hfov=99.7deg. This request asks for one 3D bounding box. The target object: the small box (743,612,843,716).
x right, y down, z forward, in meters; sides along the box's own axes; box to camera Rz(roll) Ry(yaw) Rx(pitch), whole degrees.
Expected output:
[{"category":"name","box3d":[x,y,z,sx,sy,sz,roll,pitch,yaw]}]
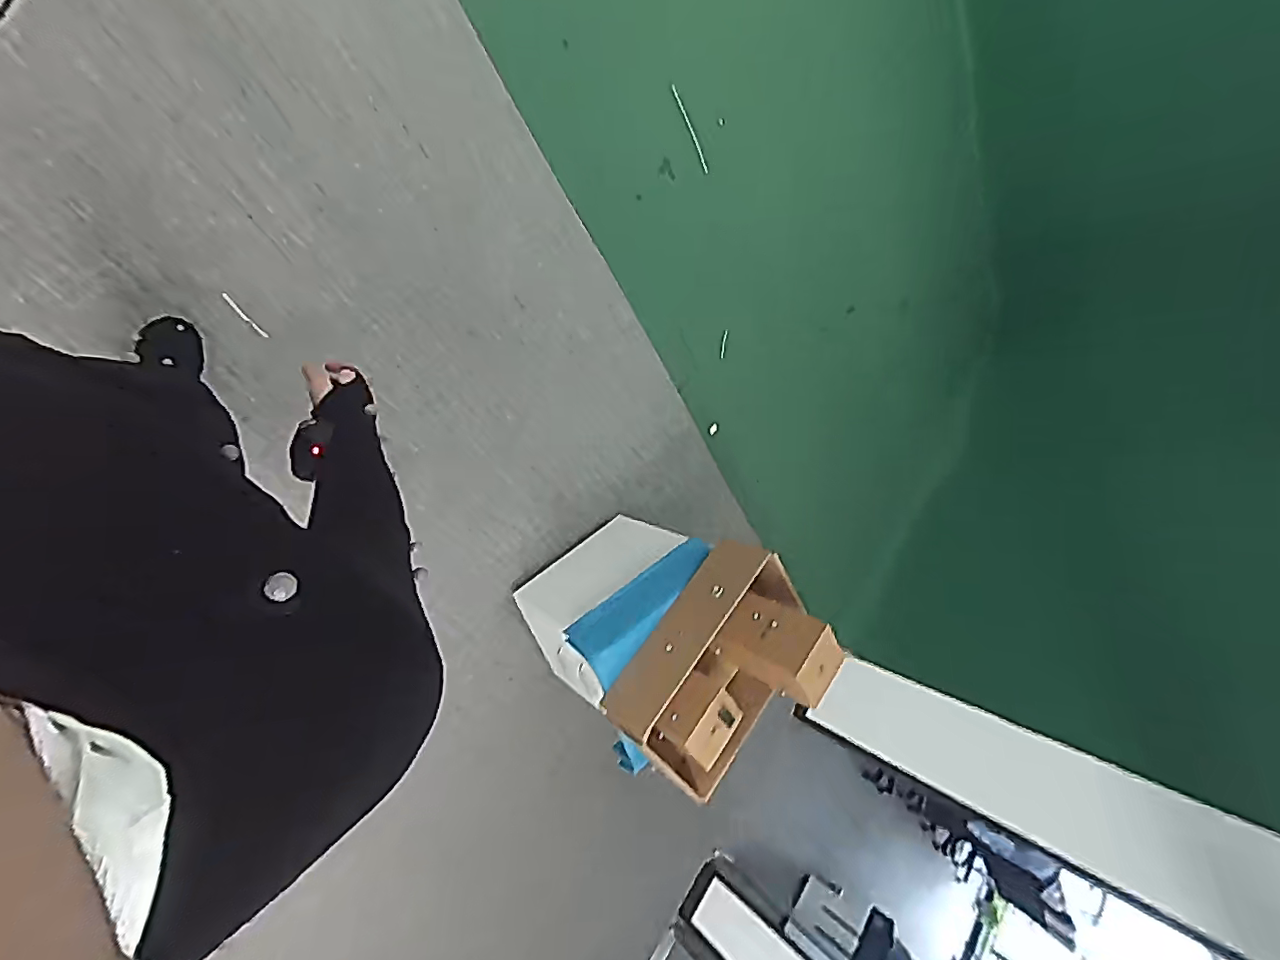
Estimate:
[{"category":"small box","box3d":[0.405,0.481,1.437,0.168,0.176,0.179,-48,126,-22]}]
